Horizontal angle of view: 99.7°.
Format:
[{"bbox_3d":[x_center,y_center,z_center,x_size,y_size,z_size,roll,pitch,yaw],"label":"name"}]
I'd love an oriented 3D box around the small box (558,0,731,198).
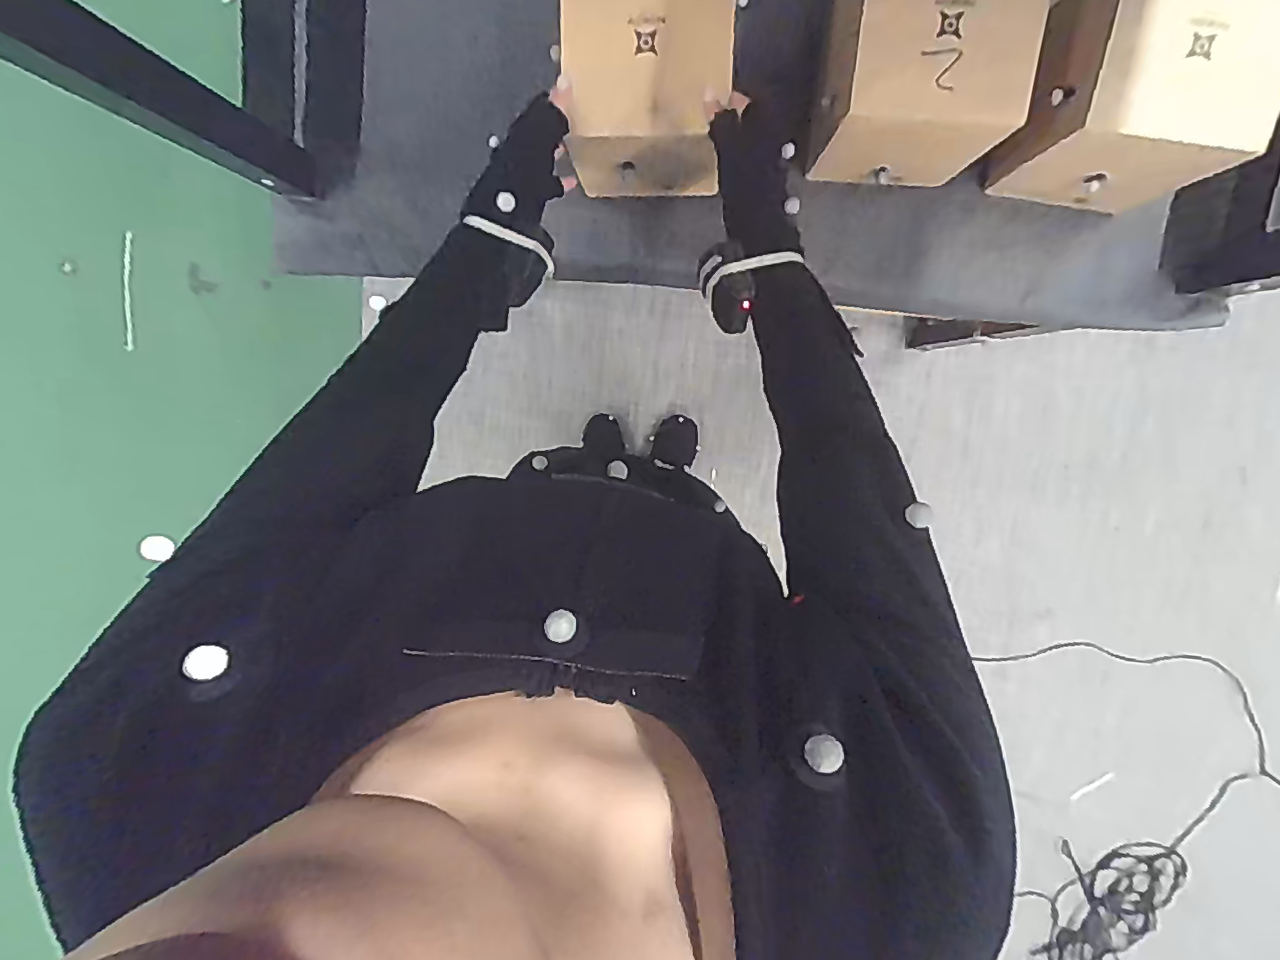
[{"bbox_3d":[0.008,-0.425,0.591,0.168,0.176,0.179,1,98,3],"label":"small box"}]
